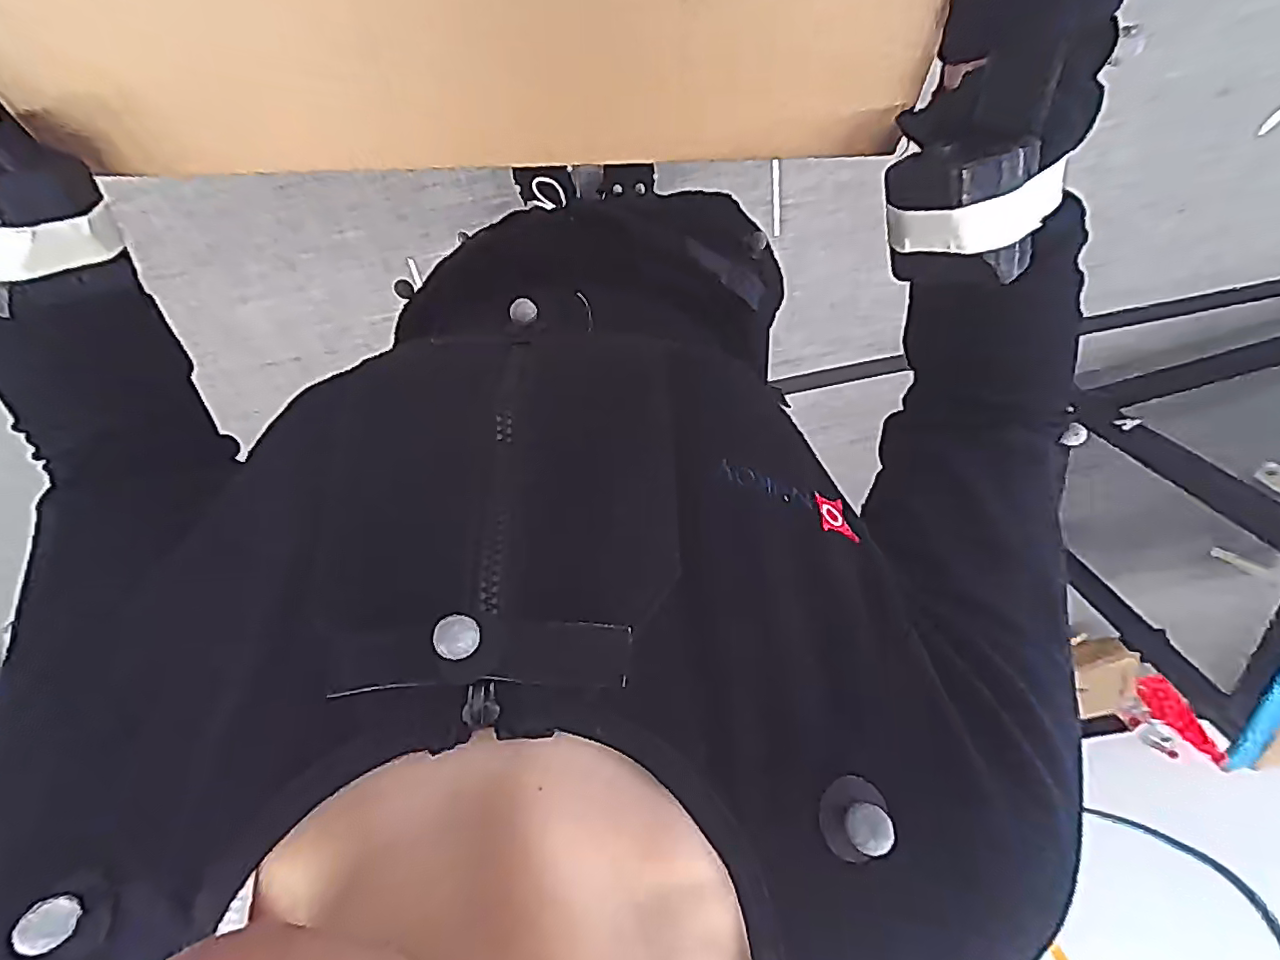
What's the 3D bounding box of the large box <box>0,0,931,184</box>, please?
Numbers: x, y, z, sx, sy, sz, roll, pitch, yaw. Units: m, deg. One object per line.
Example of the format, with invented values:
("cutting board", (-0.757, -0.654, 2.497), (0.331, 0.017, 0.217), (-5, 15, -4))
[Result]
("large box", (-0.080, -0.368, 0.220), (0.408, 0.320, 0.320), (-3, 150, -2))
